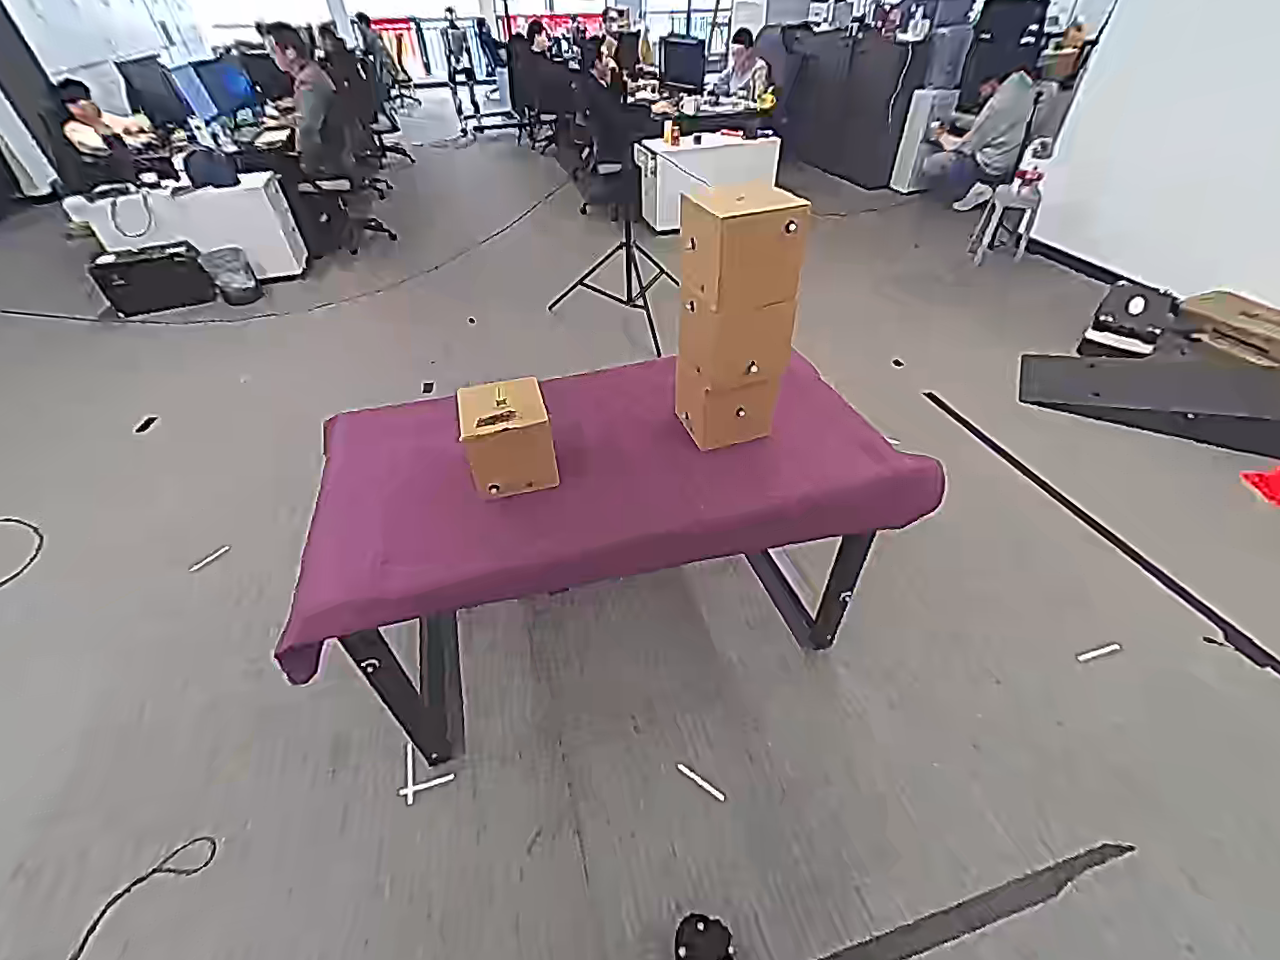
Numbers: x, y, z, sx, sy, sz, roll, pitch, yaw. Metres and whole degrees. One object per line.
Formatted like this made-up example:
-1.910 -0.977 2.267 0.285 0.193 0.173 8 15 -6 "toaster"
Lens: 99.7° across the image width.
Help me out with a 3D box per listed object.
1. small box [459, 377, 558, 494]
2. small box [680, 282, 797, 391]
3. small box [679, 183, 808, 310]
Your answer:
-0.272 -0.087 1.126 0.168 0.176 0.179 -12 42 -12 "small box"
0.192 -0.306 1.110 0.179 0.176 0.168 -16 44 -15 "small box"
0.184 -0.432 1.006 0.179 0.176 0.168 -15 44 -14 "small box"
